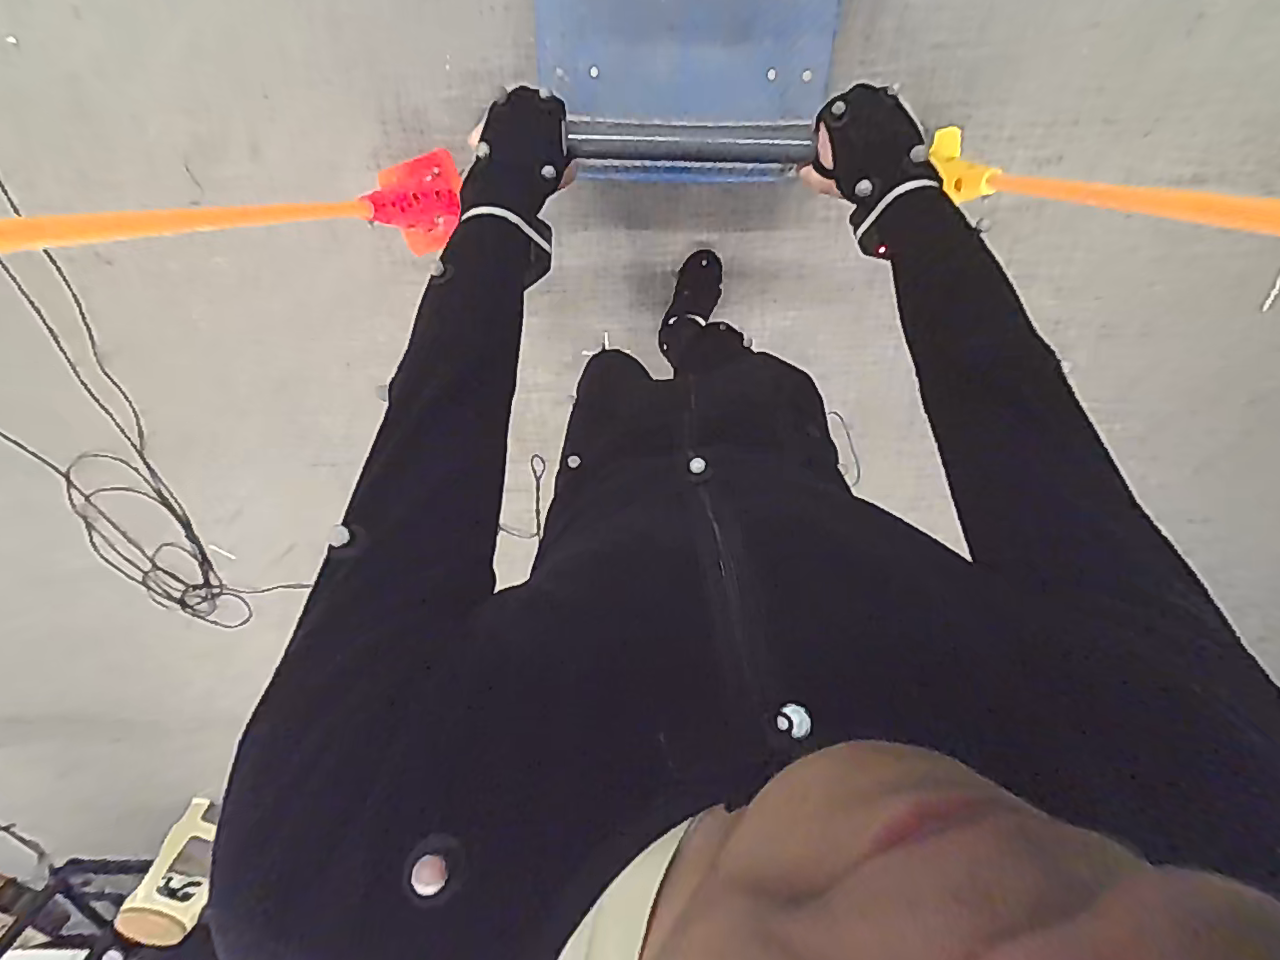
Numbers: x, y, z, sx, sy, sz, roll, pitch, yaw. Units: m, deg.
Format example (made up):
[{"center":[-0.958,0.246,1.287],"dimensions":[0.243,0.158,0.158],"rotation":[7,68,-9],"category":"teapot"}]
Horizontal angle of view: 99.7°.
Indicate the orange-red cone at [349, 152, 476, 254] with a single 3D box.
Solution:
[{"center":[-0.536,-0.604,1.196],"dimensions":[0.199,0.360,0.198],"rotation":[-13,116,11],"category":"orange-red cone"}]
